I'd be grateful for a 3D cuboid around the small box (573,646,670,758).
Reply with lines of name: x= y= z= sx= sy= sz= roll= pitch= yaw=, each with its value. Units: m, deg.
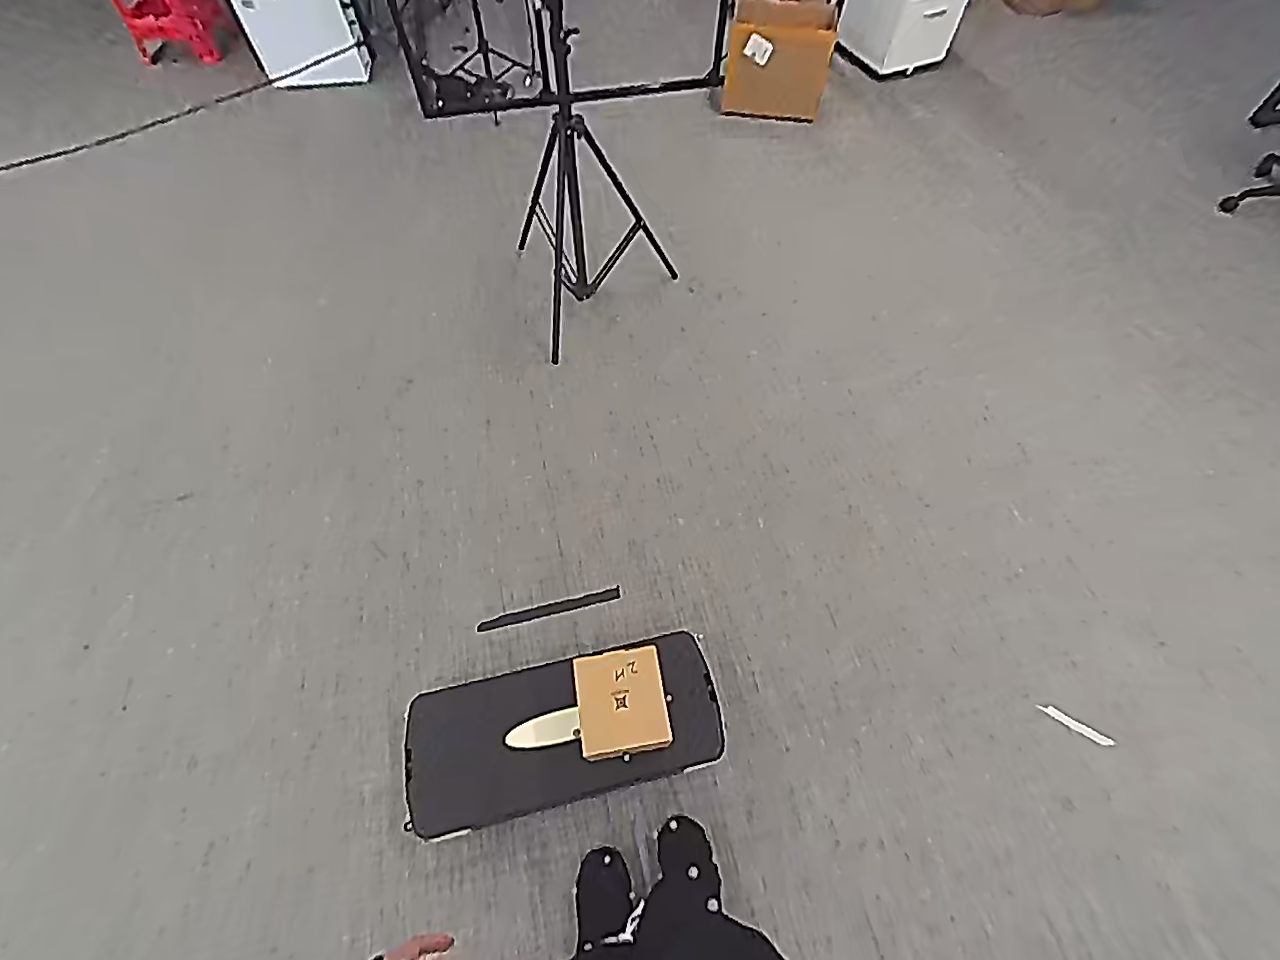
small box: x=-0.037 y=0.449 z=1.083 sx=0.168 sy=0.176 sz=0.179 roll=-8 pitch=60 yaw=-5
